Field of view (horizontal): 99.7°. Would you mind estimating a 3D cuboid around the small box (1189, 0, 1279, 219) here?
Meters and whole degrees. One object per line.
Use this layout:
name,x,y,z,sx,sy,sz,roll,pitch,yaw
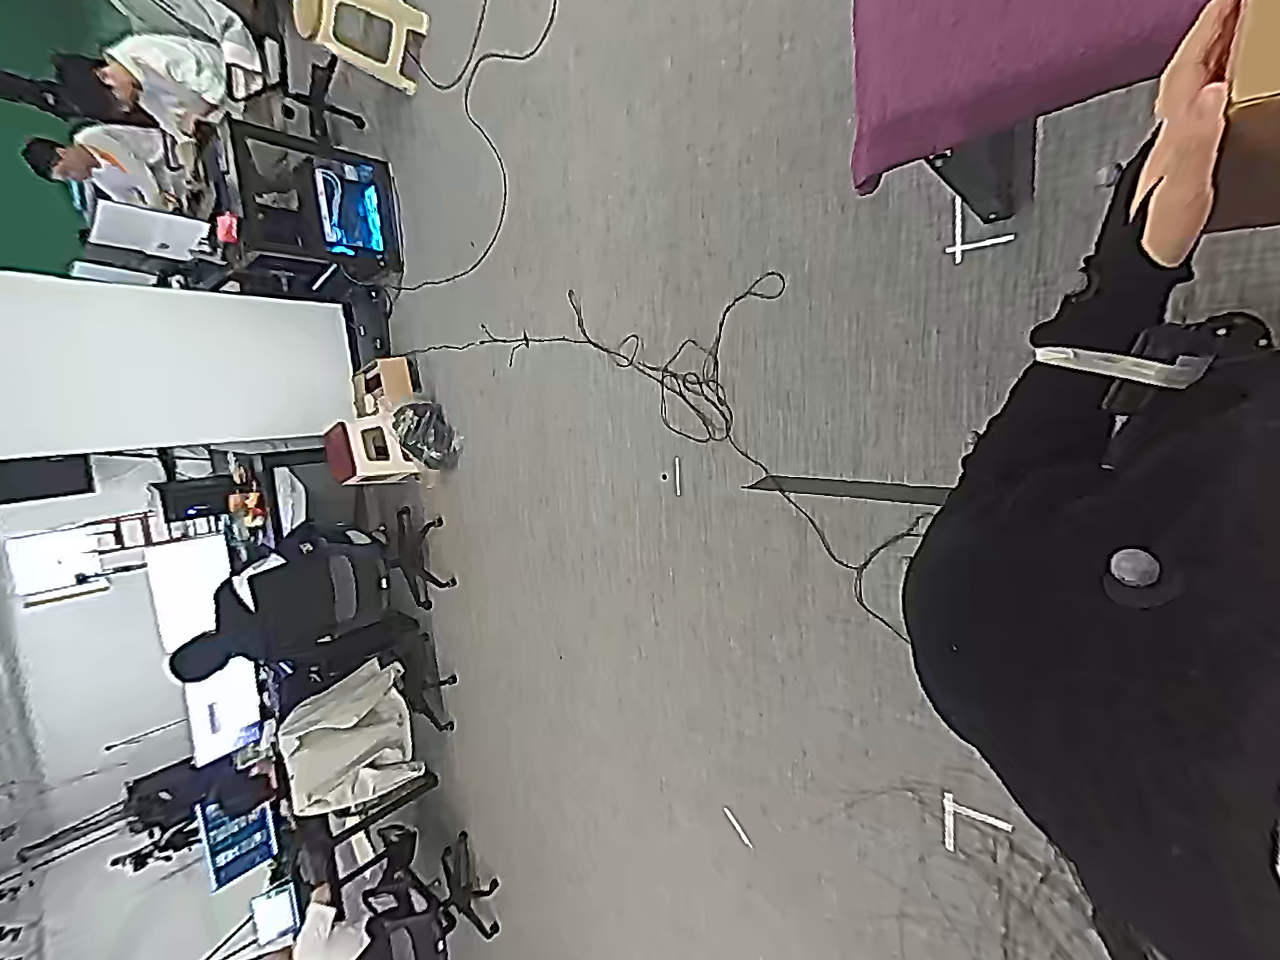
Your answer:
small box,0.423,-0.260,0.285,0.168,0.176,0.179,10,93,41
